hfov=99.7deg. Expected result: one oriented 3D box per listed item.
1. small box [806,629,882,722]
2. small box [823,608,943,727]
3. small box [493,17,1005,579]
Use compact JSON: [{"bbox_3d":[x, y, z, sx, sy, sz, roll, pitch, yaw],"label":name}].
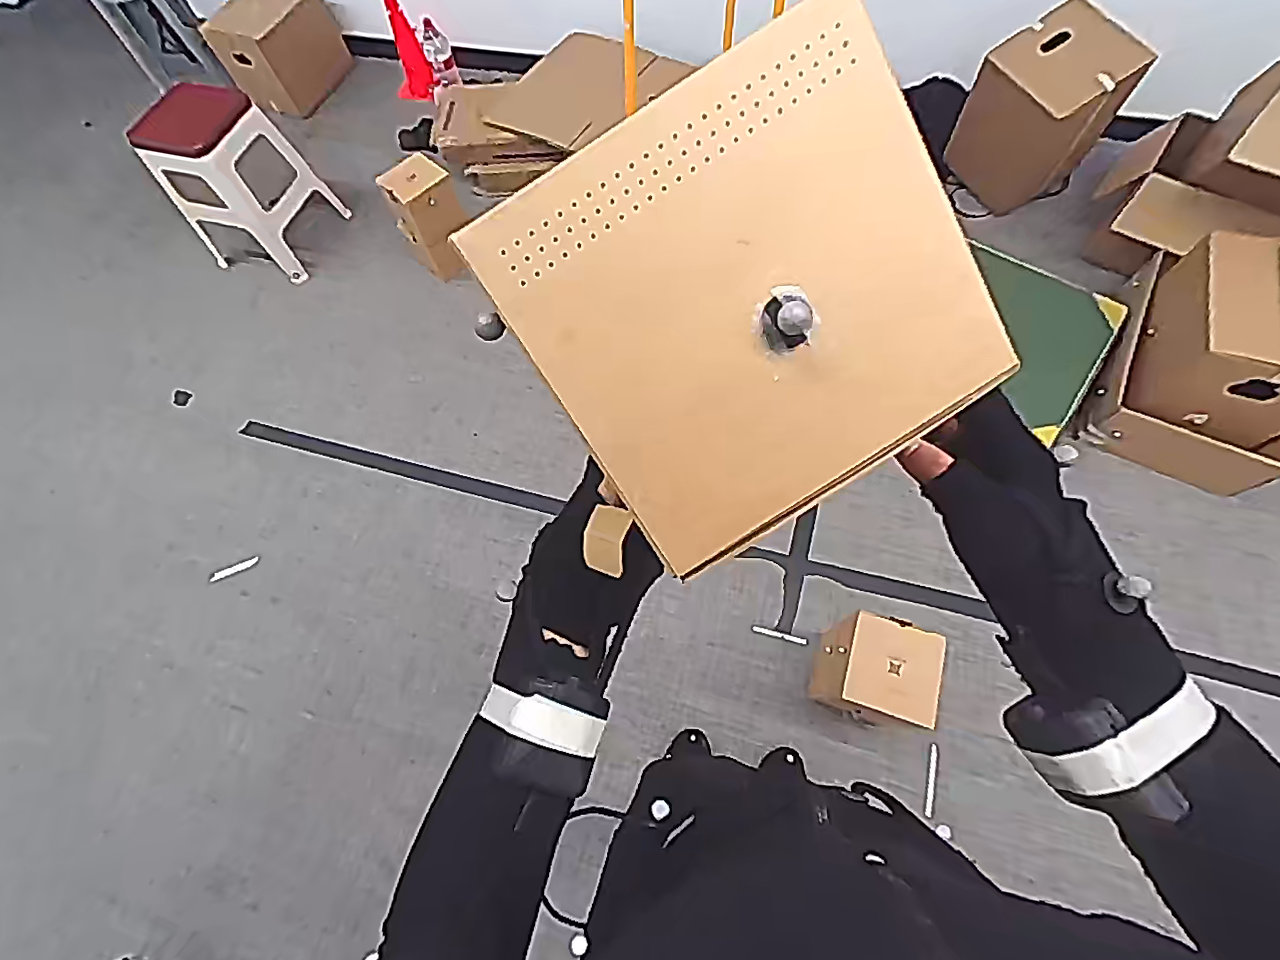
[{"bbox_3d":[0.507,0.449,1.251,0.179,0.176,0.168,18,68,10],"label":"small box"},{"bbox_3d":[0.487,0.384,1.103,0.168,0.176,0.179,17,69,12],"label":"small box"},{"bbox_3d":[0.038,-0.083,0.299,0.179,0.168,0.176,-34,103,2],"label":"small box"}]
